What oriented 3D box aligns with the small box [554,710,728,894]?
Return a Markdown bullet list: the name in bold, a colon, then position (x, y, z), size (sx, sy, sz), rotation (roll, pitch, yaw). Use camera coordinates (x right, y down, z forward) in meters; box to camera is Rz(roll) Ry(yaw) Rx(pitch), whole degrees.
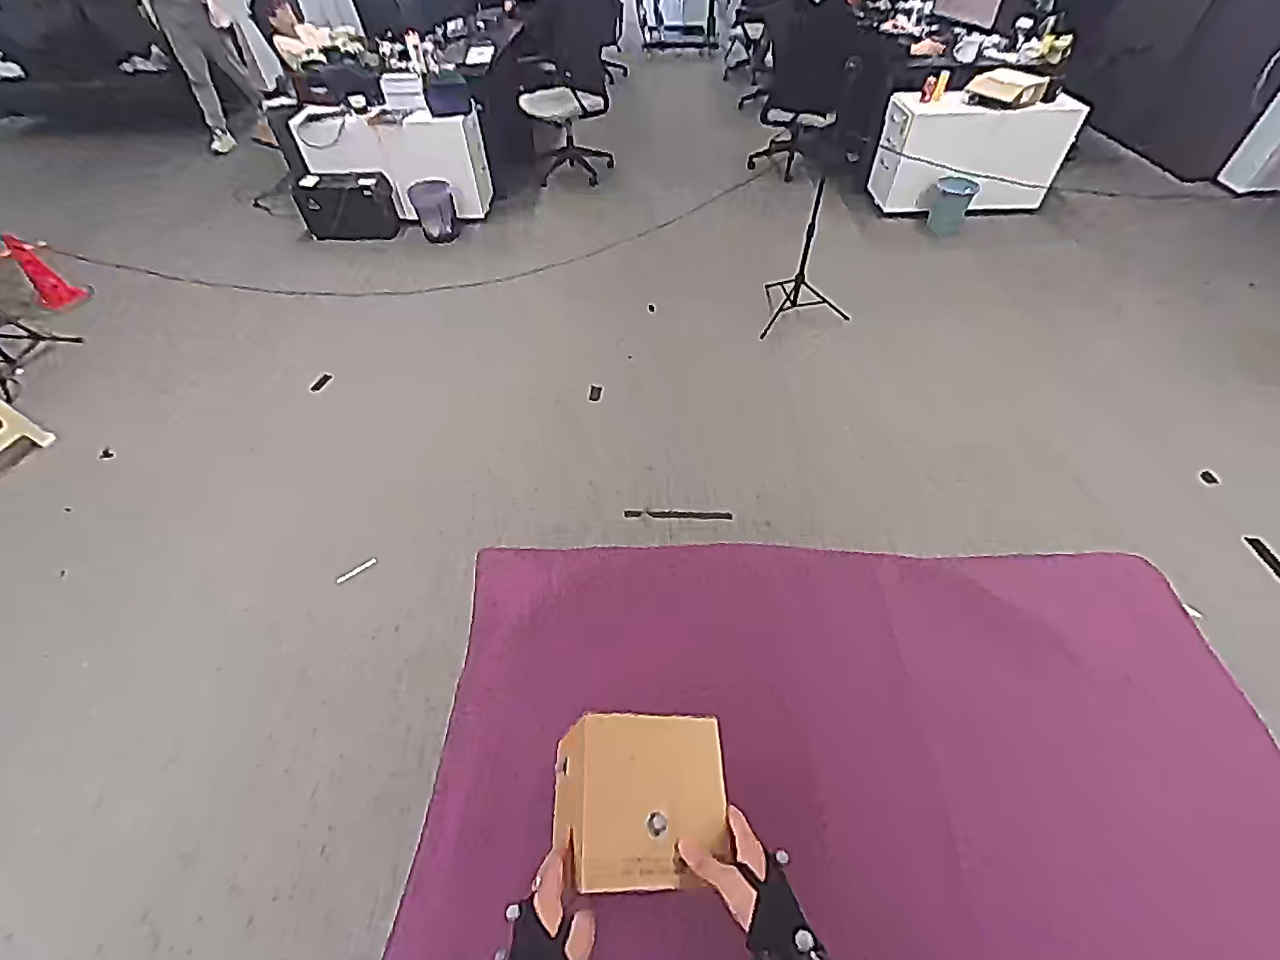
- **small box**: position (-0.007, 0.390, 0.651), size (0.168, 0.179, 0.176), rotation (8, 53, -14)
